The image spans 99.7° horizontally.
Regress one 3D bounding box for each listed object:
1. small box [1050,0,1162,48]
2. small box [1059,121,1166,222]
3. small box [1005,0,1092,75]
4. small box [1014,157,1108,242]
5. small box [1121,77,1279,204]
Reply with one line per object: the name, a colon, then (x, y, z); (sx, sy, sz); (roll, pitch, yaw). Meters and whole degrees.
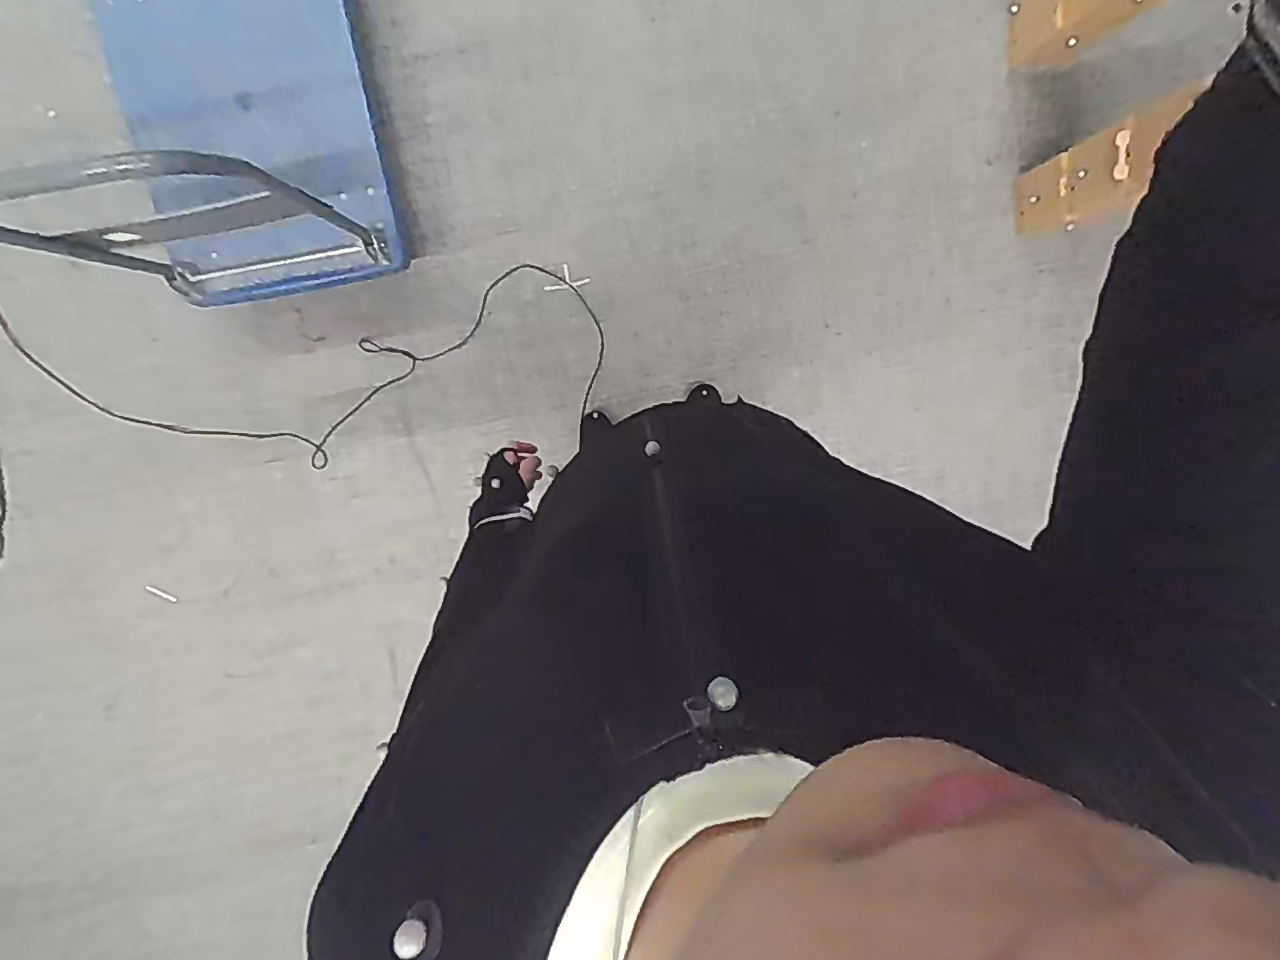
small box: (1.109, -1.170, 1.249); (0.168, 0.176, 0.179); (27, 96, -3)
small box: (1.167, -0.738, 1.303); (0.179, 0.176, 0.168); (-3, 98, -1)
small box: (1.086, -1.187, 1.402); (0.179, 0.176, 0.168); (-5, 99, -2)
small box: (1.151, -0.760, 1.466); (0.179, 0.176, 0.168); (-8, 99, 0)
small box: (1.172, -0.708, 1.142); (0.168, 0.176, 0.179); (-4, 98, -1)
